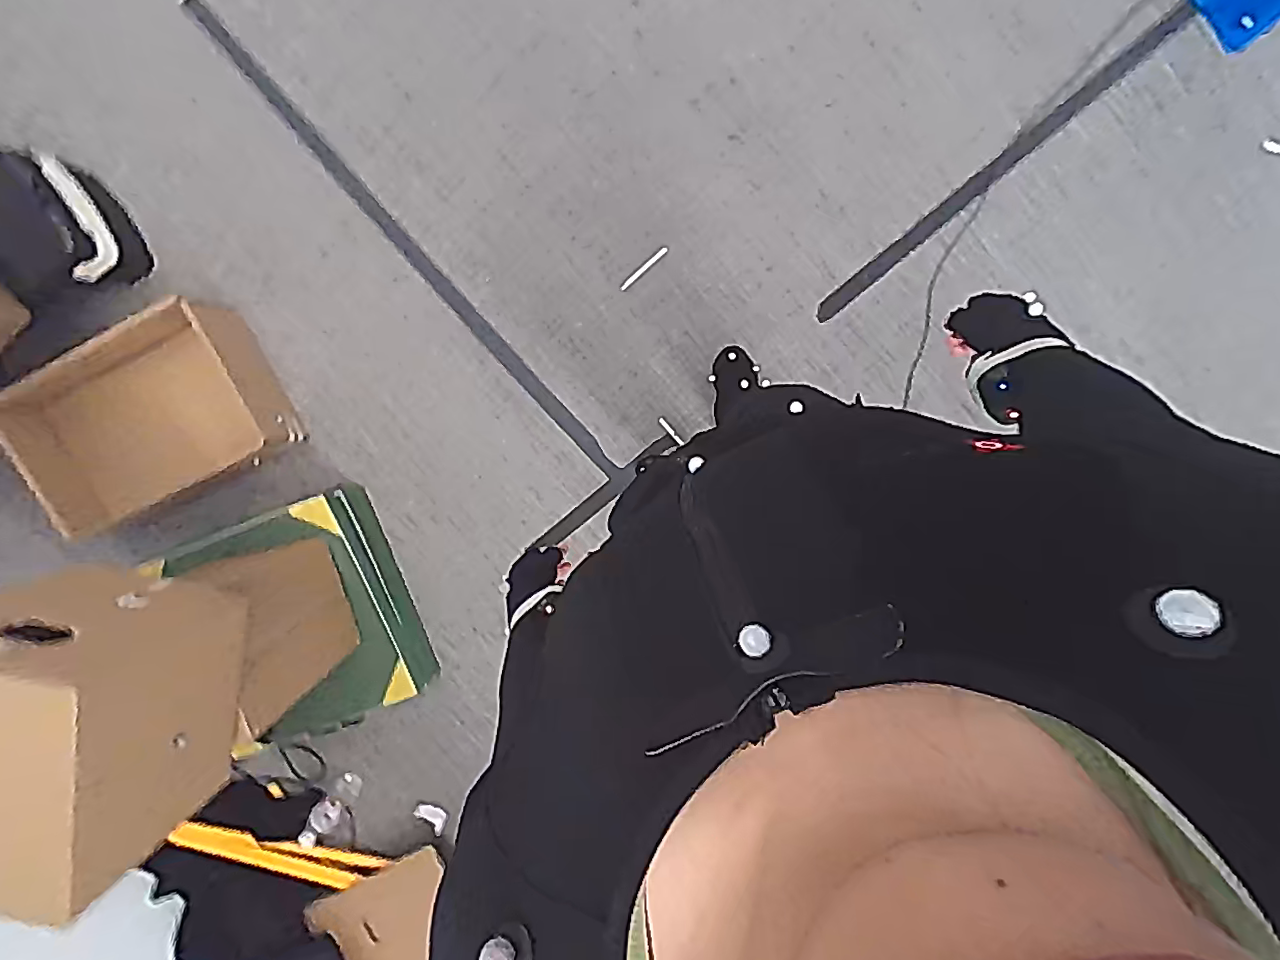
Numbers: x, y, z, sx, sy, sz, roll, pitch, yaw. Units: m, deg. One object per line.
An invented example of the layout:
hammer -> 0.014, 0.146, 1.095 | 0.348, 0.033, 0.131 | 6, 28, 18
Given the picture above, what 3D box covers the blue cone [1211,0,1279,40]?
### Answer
blue cone -> 1.357, -1.080, 1.036 | 0.192, 0.380, 0.193 | -41, 97, 8
